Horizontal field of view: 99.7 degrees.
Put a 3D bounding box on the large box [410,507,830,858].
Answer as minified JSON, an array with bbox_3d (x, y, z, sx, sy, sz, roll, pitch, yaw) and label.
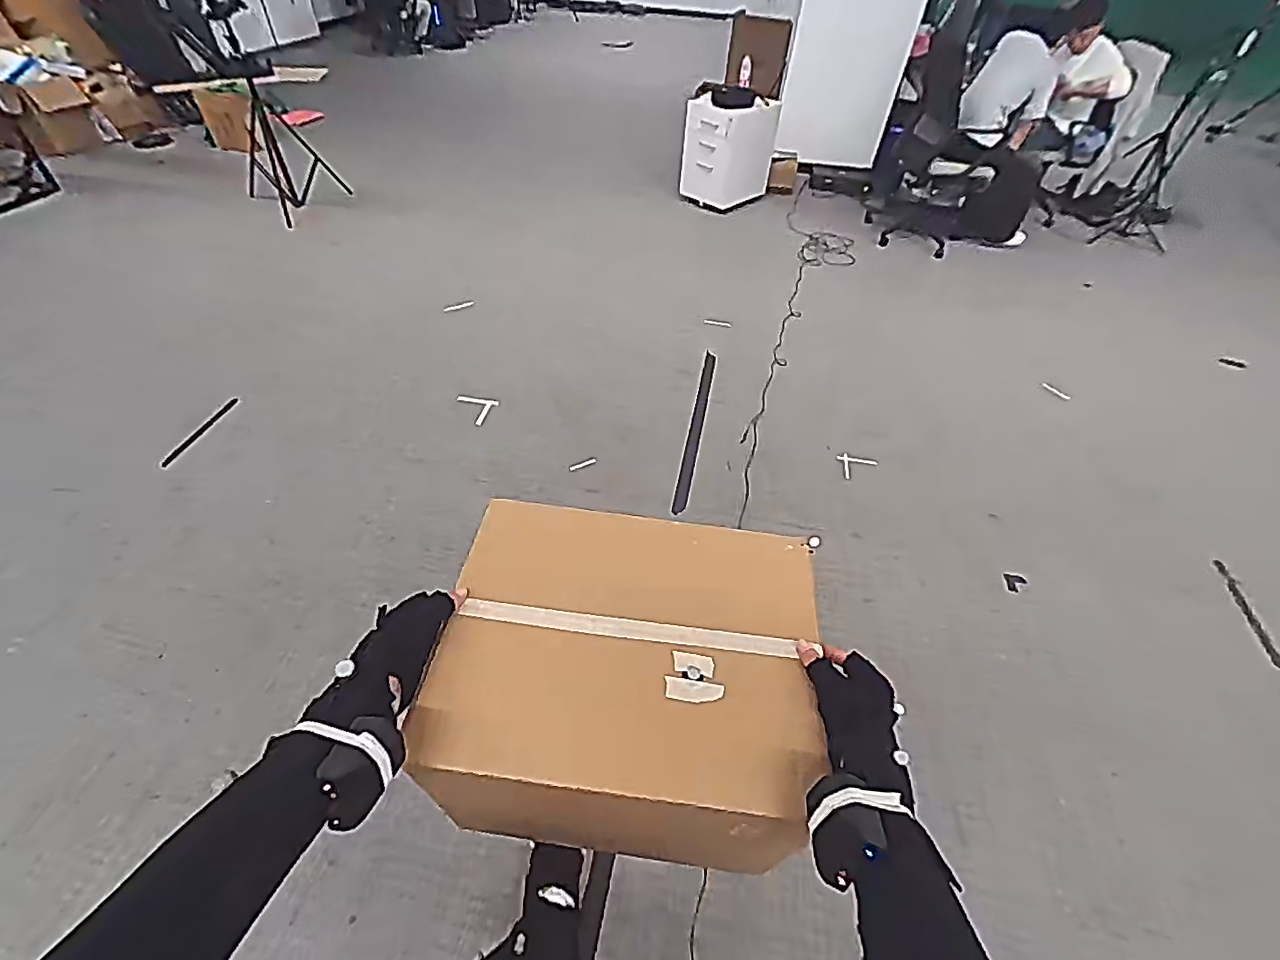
[{"bbox_3d":[-0.017,0.267,0.709,0.408,0.320,0.320,7,48,1],"label":"large box"}]
